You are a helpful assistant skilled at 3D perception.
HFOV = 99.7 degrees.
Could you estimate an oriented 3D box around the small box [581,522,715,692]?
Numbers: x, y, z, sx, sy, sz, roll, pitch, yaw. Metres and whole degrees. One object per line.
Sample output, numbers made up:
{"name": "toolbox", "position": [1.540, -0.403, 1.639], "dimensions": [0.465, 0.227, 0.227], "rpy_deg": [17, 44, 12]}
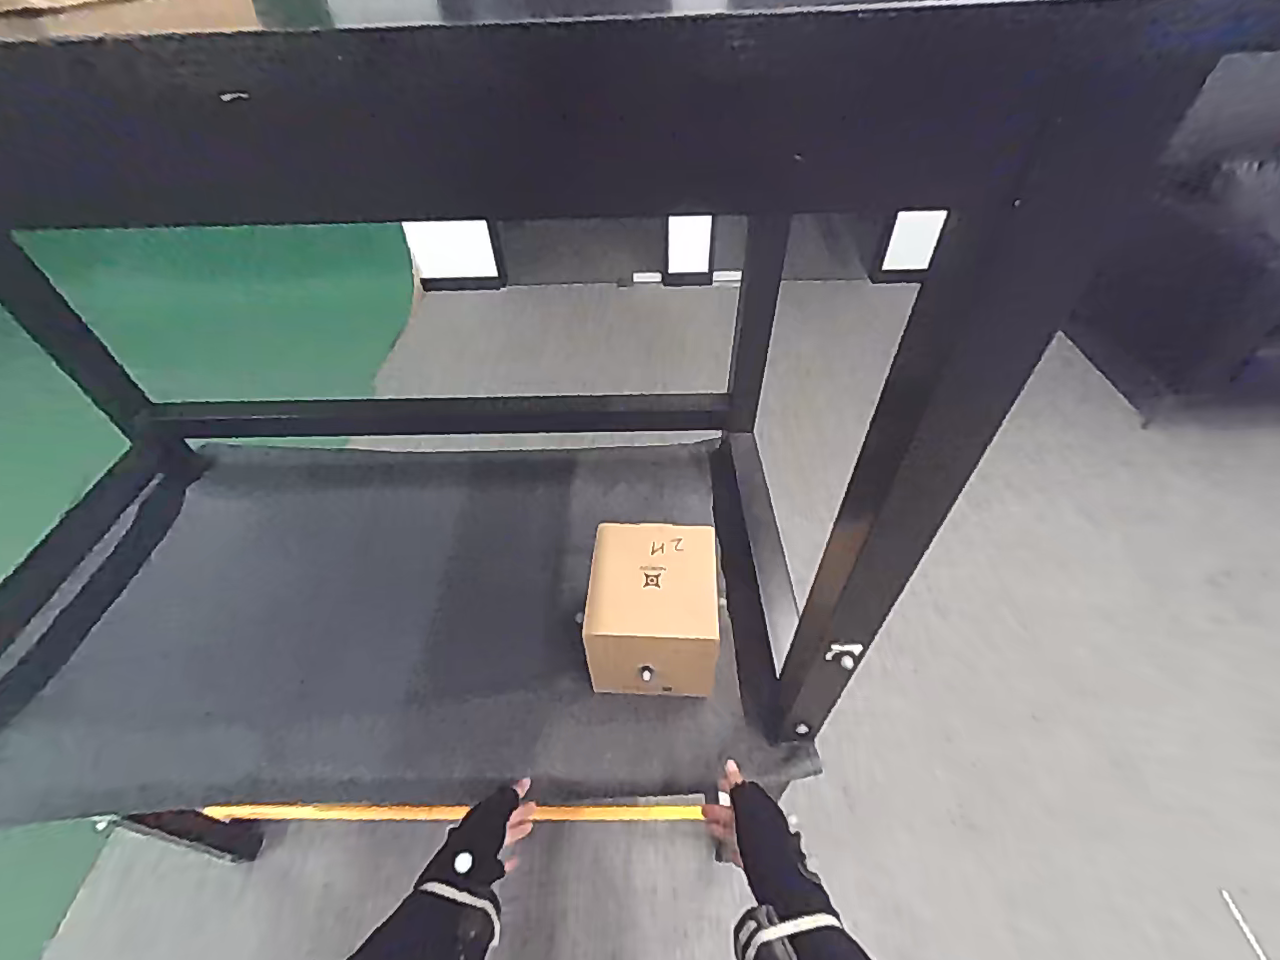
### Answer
{"name": "small box", "position": [0.018, 0.181, 0.761], "dimensions": [0.168, 0.176, 0.179], "rpy_deg": [2, 45, 3]}
